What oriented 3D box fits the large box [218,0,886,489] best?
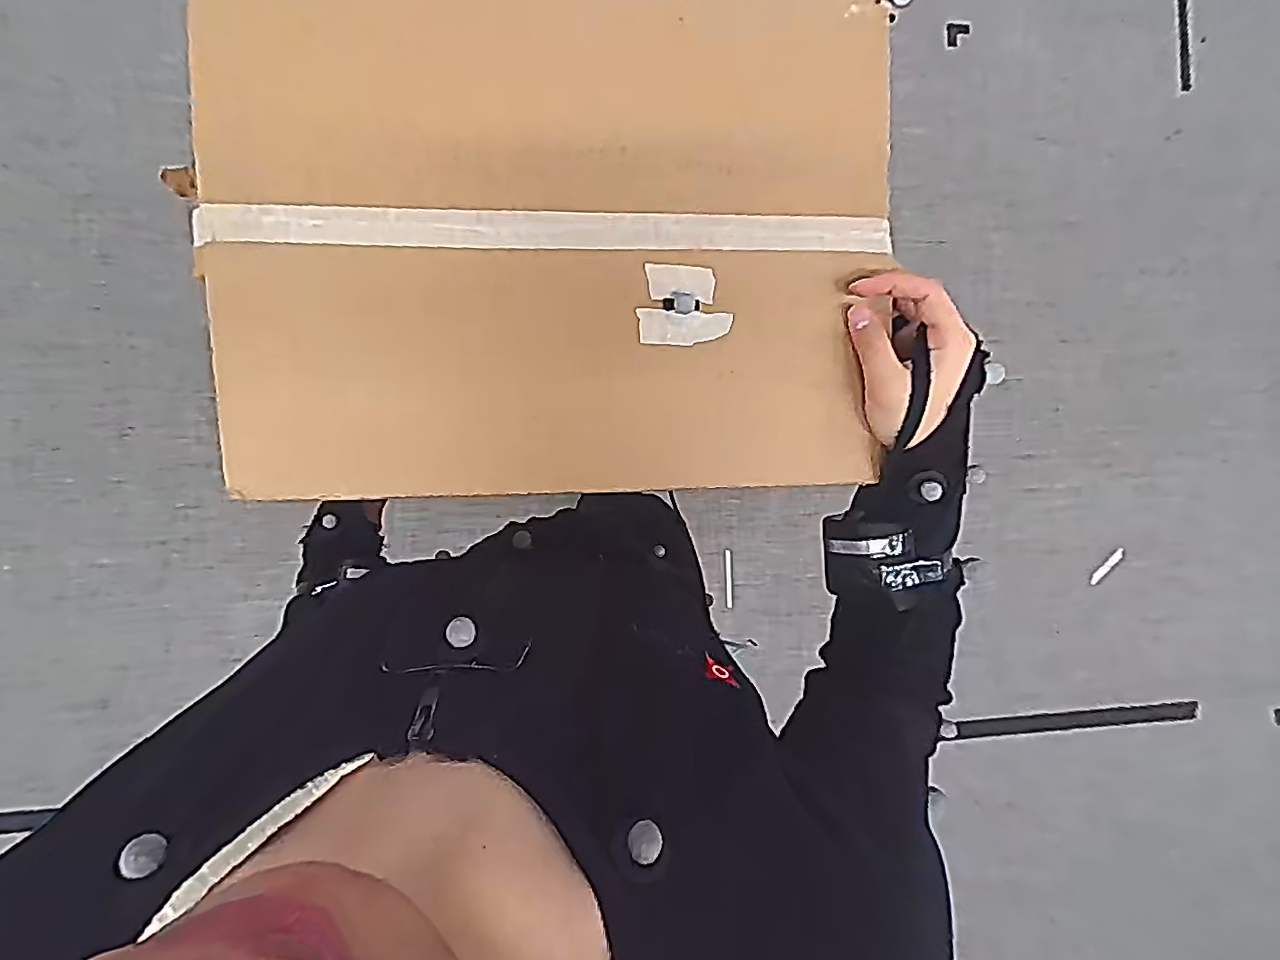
[{"bbox_3d":[-0.056,-0.165,0.481,0.408,0.320,0.320,-2,95,-7],"label":"large box"}]
